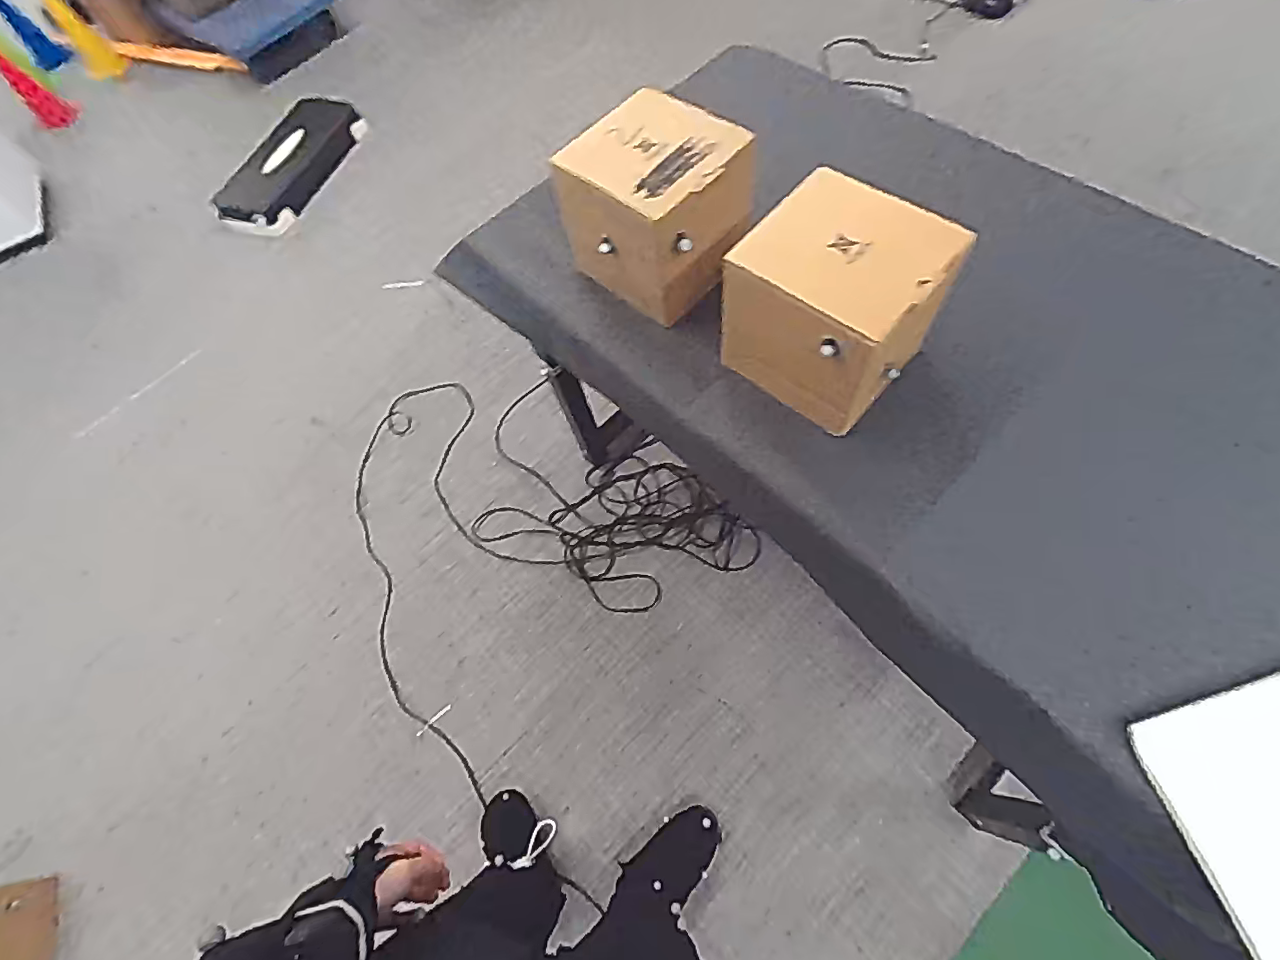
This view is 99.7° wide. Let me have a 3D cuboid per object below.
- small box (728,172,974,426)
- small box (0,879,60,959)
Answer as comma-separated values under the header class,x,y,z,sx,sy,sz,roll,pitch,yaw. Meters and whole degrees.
class,x,y,z,sx,sy,sz,roll,pitch,yaw
small box,0.211,-0.190,0.597,0.179,0.176,0.168,38,75,21
small box,-1.326,0.938,1.082,0.168,0.176,0.179,-27,66,-5
